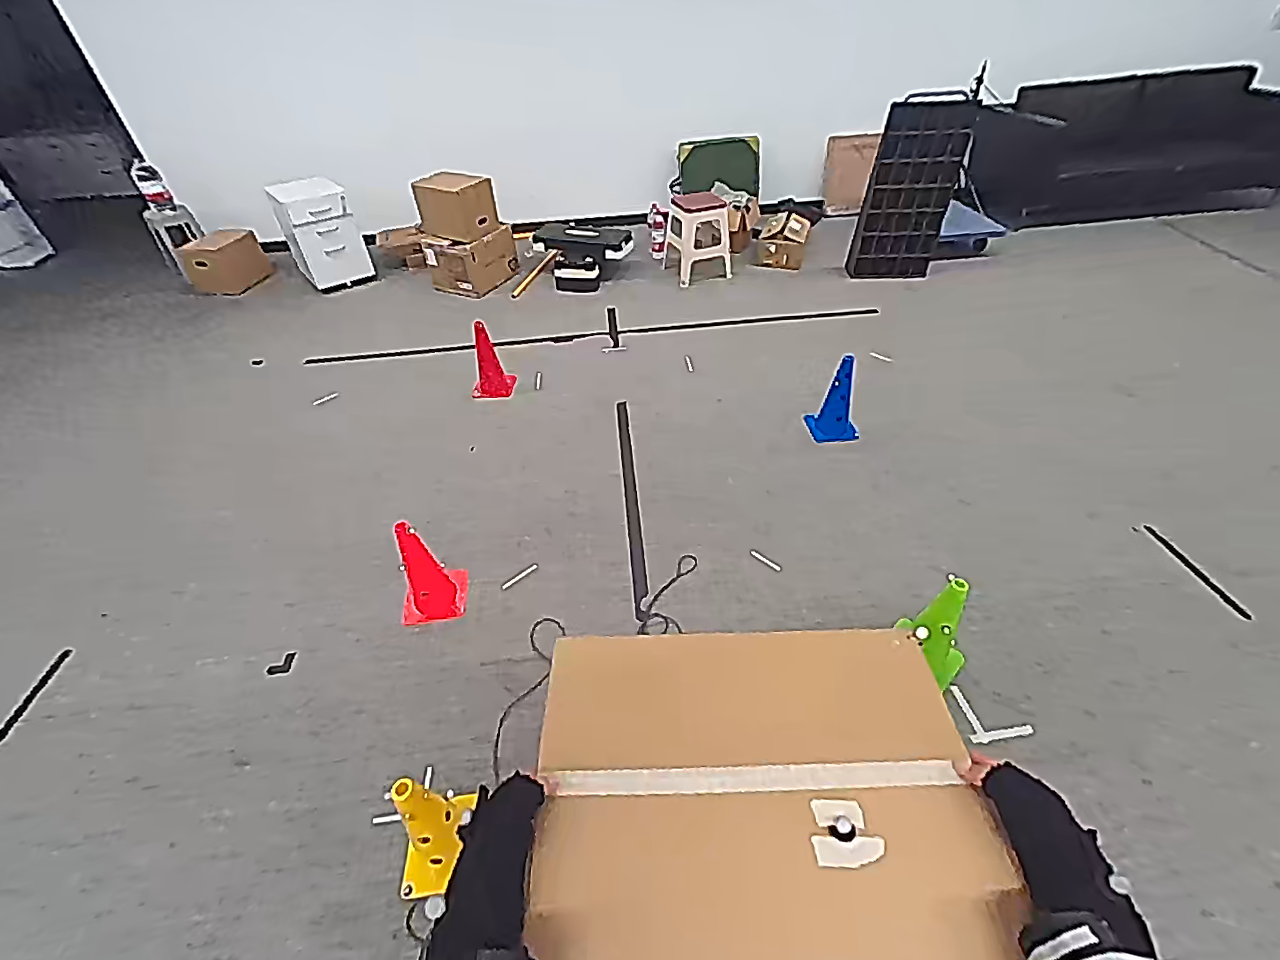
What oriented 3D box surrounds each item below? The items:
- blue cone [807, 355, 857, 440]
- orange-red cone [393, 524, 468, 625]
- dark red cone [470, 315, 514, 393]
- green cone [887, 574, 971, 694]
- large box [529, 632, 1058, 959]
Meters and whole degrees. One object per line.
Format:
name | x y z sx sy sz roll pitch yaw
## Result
blue cone | 0.858 -0.362 2.330 0.192 0.380 0.193 -3 43 -1
orange-red cone | -0.697 0.271 1.710 0.198 0.360 0.199 -8 44 -4
dark red cone | -0.760 -0.620 2.656 0.201 0.394 0.202 -1 42 1
green cone | 0.819 0.388 1.483 0.202 0.368 0.200 -33 51 -30
large box | 0.113 0.393 0.598 0.408 0.320 0.320 -2 41 1
